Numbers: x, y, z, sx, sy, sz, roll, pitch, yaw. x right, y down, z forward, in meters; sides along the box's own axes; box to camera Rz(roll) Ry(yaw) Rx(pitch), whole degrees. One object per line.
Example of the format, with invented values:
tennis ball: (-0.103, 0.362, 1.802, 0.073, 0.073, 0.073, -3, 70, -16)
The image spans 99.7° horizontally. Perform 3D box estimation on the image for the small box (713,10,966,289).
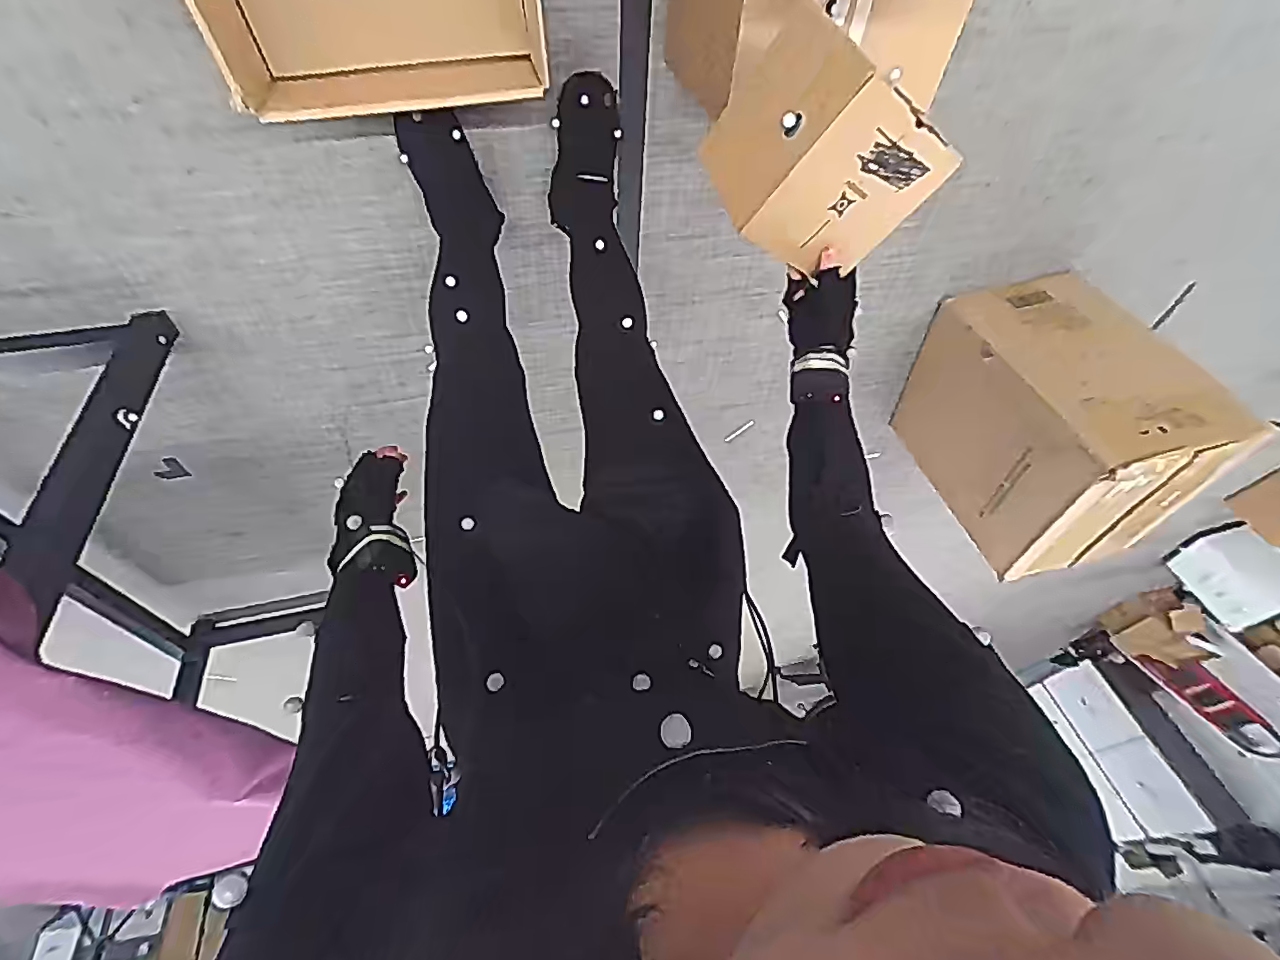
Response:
small box: (0.206, -0.357, 0.599, 0.168, 0.176, 0.179, 12, 141, -35)

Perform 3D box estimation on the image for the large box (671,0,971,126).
large box: (0.236, -0.732, 0.695, 0.320, 0.320, 0.408, -9, 143, -9)
